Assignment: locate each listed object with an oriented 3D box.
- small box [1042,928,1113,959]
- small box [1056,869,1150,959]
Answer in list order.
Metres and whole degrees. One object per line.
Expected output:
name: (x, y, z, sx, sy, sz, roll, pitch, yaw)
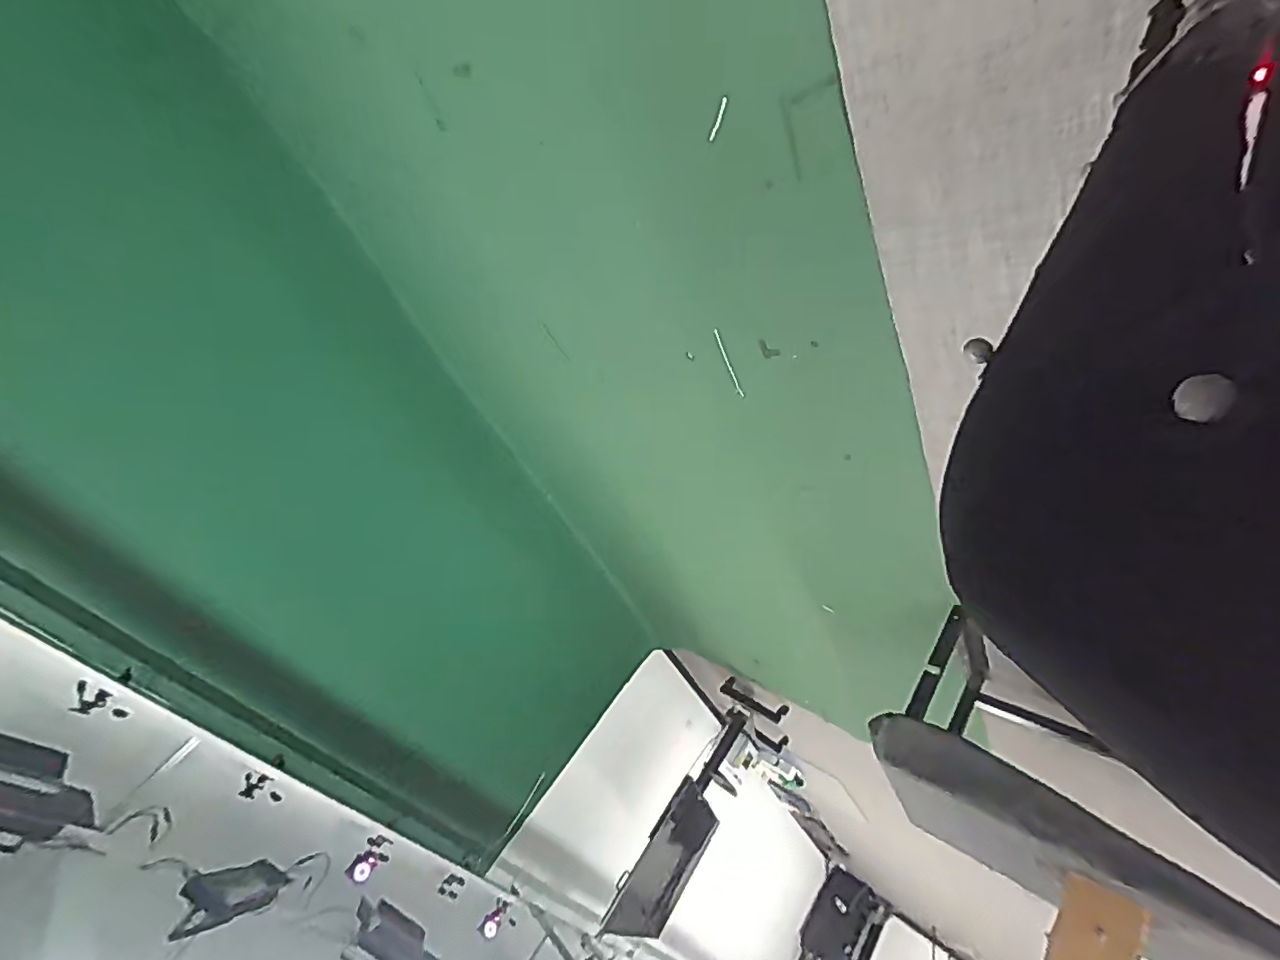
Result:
small box: (1.210, 1.373, 1.471, 0.179, 0.176, 0.168, 11, 141, 50)
small box: (1.313, 1.262, 1.534, 0.179, 0.176, 0.168, 13, 143, 49)
